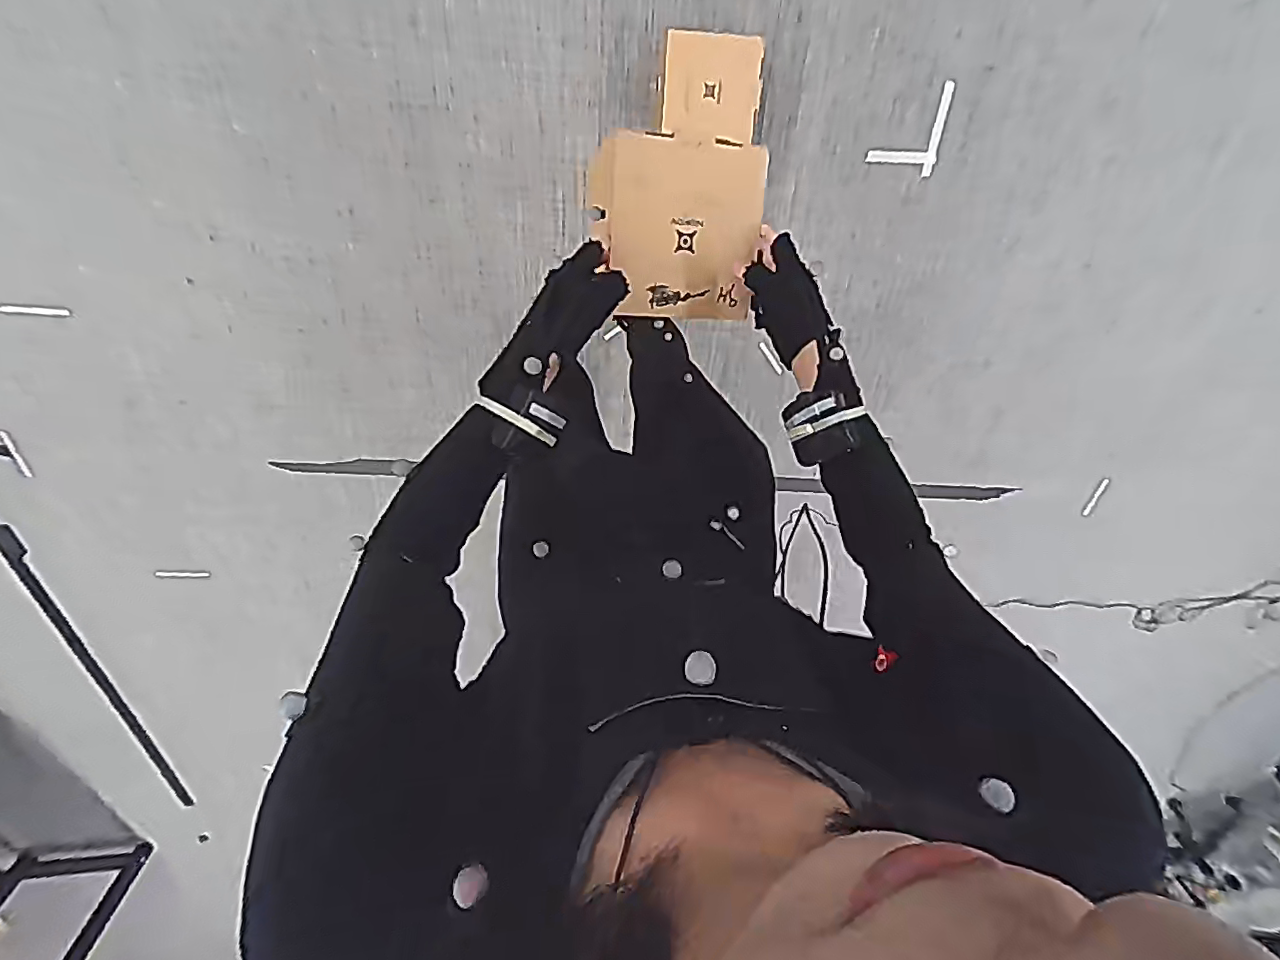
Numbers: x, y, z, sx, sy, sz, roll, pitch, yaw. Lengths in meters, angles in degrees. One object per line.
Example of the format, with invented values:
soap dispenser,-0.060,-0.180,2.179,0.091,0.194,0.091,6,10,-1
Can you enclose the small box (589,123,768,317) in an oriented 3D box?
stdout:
small box,0.032,-0.296,0.648,0.168,0.176,0.179,-1,111,-13

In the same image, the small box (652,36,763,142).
small box,0.120,-0.739,1.050,0.179,0.176,0.168,1,121,-4
